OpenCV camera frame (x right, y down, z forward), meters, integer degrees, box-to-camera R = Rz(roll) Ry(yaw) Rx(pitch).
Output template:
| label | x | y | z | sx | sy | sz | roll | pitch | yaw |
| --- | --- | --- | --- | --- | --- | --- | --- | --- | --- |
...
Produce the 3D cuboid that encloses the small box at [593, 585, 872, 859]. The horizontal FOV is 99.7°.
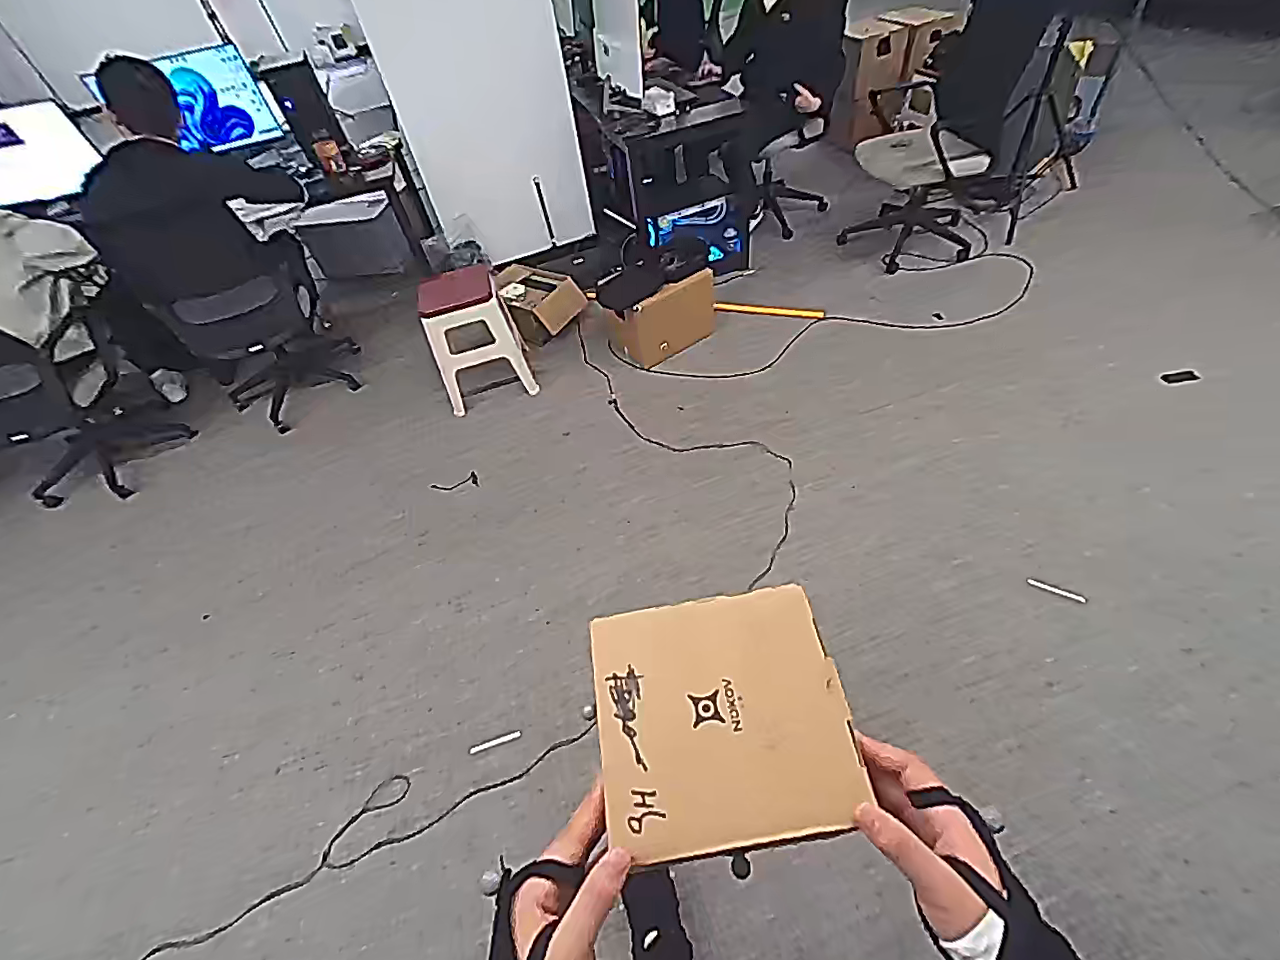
| label | x | y | z | sx | sy | sz | roll | pitch | yaw |
| --- | --- | --- | --- | --- | --- | --- | --- | --- | --- |
| small box | 0.061 | 0.208 | 0.457 | 0.179 | 0.176 | 0.168 | -9 | 52 | -1 |
